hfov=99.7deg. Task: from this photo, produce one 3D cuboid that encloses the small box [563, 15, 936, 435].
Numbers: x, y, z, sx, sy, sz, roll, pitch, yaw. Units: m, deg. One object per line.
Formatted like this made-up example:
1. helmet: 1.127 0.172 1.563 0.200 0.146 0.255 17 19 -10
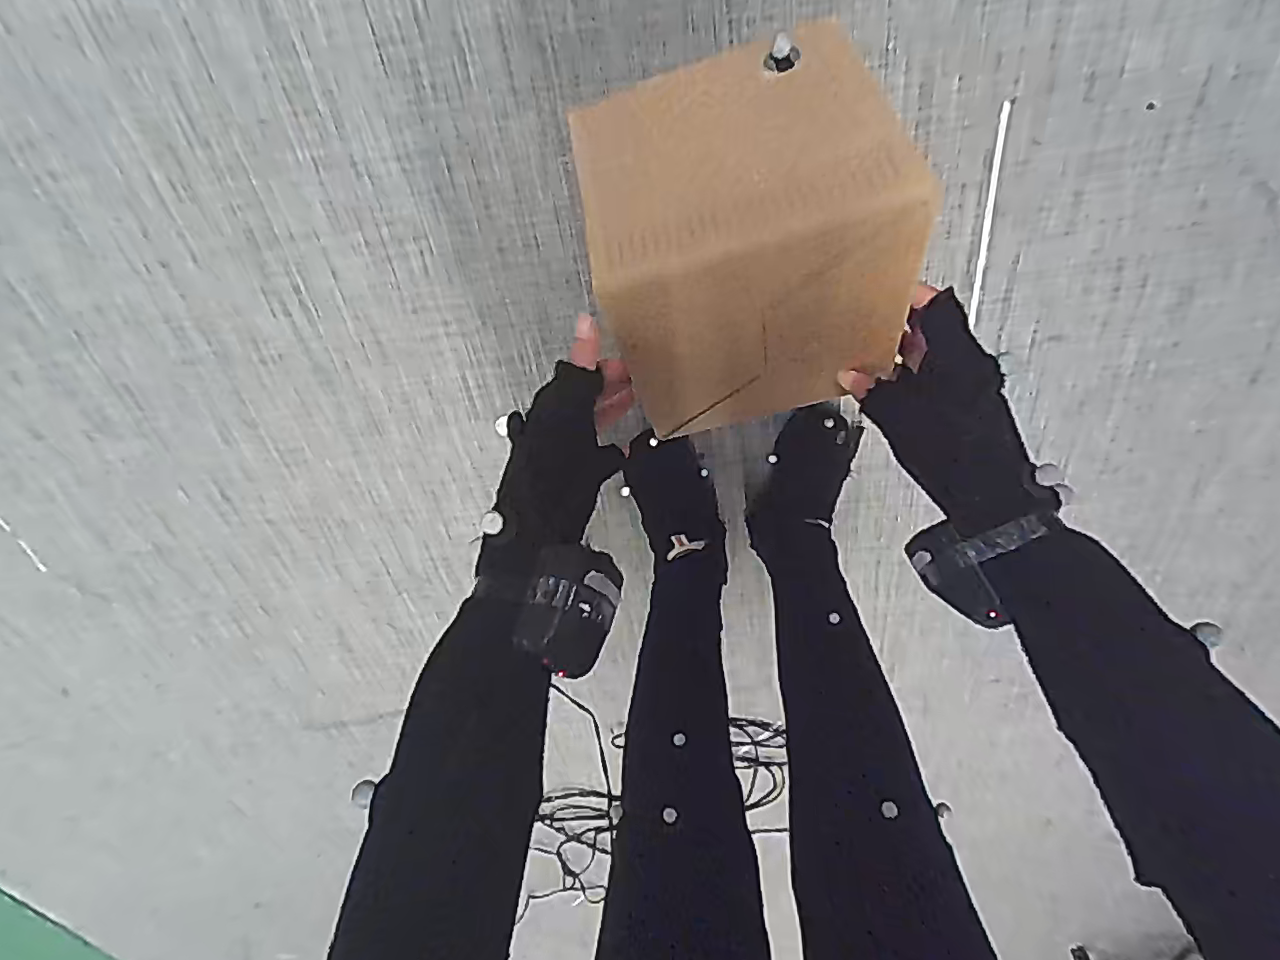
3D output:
1. small box: 0.065 -0.146 0.366 0.179 0.176 0.168 -13 158 11
